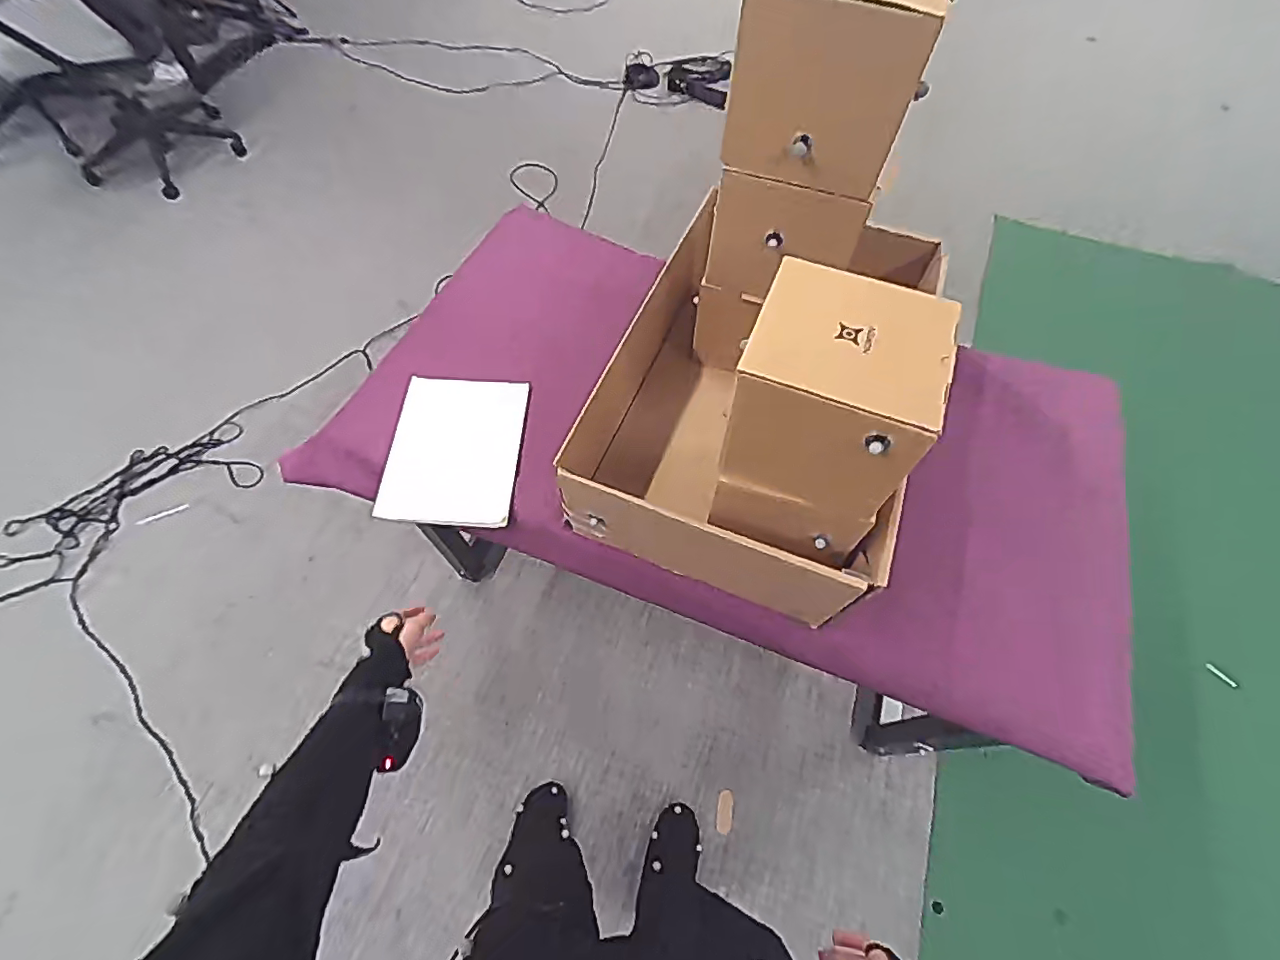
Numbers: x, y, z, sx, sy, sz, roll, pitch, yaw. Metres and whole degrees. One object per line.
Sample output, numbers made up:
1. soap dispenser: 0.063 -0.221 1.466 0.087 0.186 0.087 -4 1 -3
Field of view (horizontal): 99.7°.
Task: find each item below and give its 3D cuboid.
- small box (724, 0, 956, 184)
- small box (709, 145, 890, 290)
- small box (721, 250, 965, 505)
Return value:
1. small box: 0.203 -0.444 0.562 0.179 0.176 0.168 20 64 8
2. small box: 0.202 -0.364 0.705 0.179 0.176 0.168 17 64 8
3. small box: 0.195 -0.097 0.555 0.179 0.176 0.168 20 62 10
